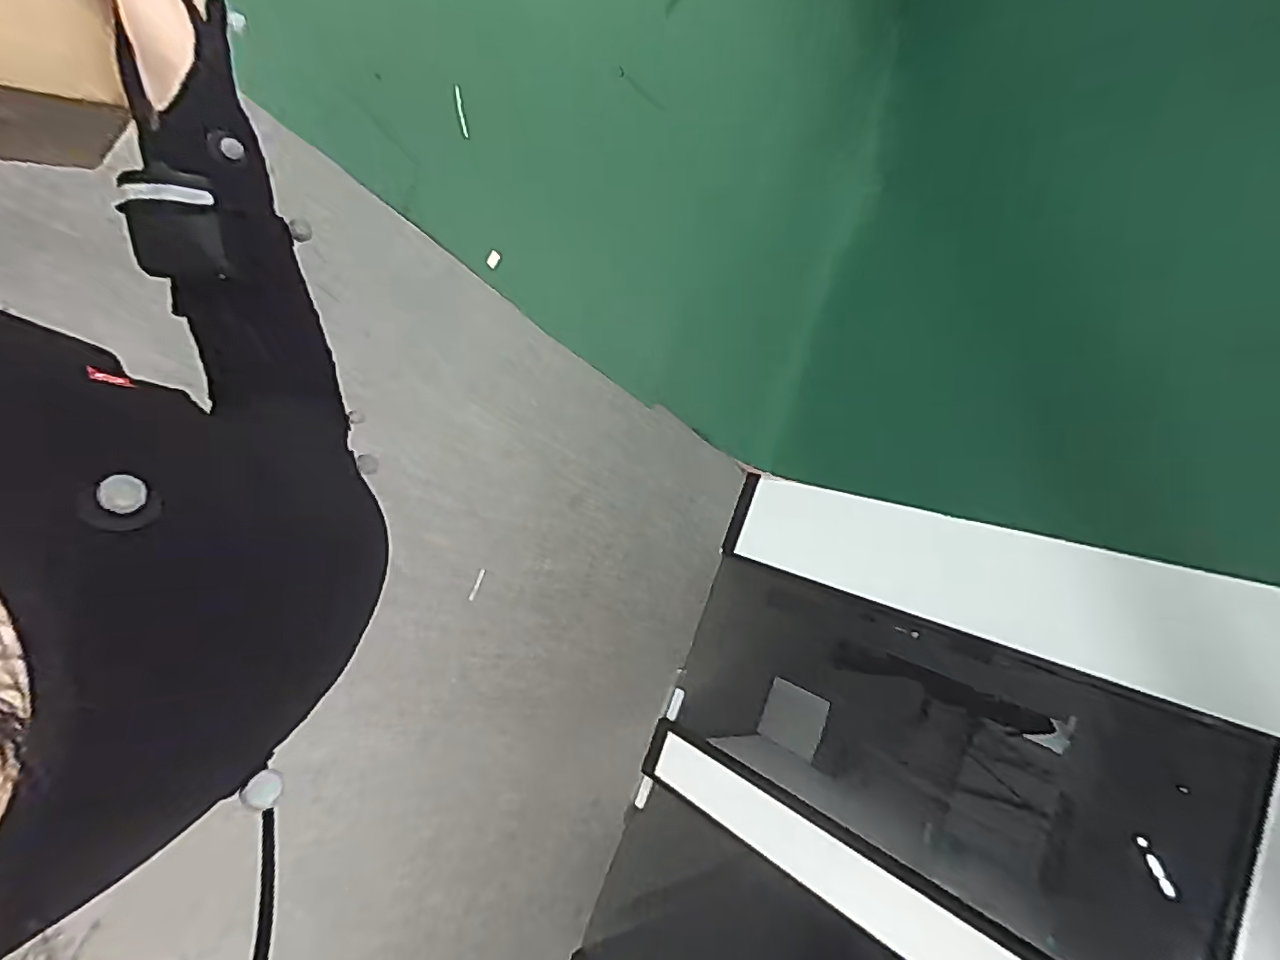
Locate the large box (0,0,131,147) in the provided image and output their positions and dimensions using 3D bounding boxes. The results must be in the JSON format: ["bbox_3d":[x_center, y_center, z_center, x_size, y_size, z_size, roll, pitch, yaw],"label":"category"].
[{"bbox_3d":[-0.571,-0.382,0.250,0.408,0.320,0.320,-21,120,-45],"label":"large box"}]
